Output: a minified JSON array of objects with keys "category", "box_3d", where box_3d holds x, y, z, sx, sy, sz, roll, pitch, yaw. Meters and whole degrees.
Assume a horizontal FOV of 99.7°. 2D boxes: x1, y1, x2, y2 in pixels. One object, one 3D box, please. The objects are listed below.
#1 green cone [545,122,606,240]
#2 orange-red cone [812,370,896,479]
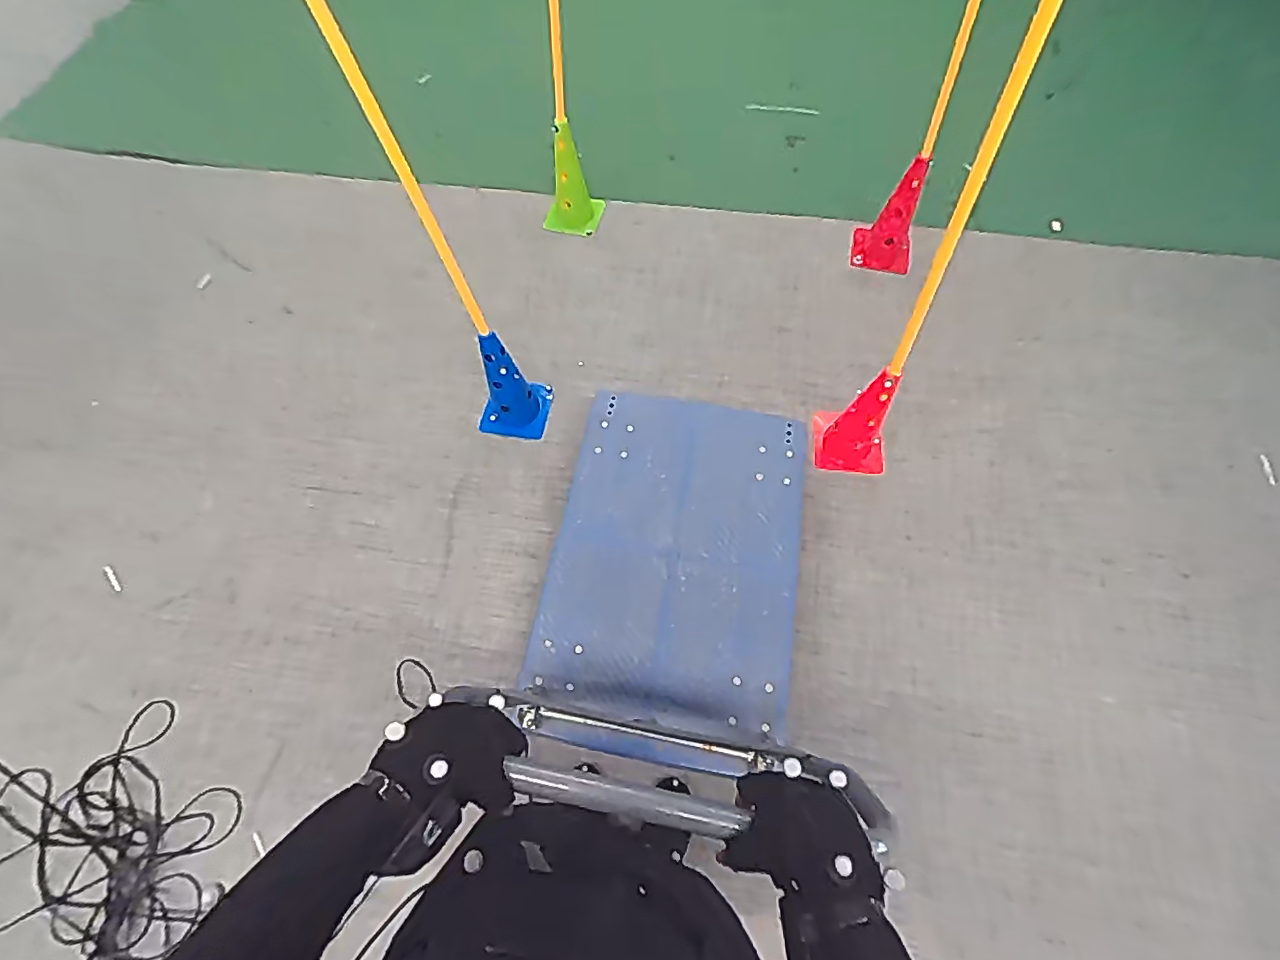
[{"category":"green cone","box_3d":[-0.251,-1.071,1.912,0.202,0.368,0.200,11,65,8]},{"category":"orange-red cone","box_3d":[0.609,-0.174,1.468,0.199,0.360,0.198,6,64,6]}]
